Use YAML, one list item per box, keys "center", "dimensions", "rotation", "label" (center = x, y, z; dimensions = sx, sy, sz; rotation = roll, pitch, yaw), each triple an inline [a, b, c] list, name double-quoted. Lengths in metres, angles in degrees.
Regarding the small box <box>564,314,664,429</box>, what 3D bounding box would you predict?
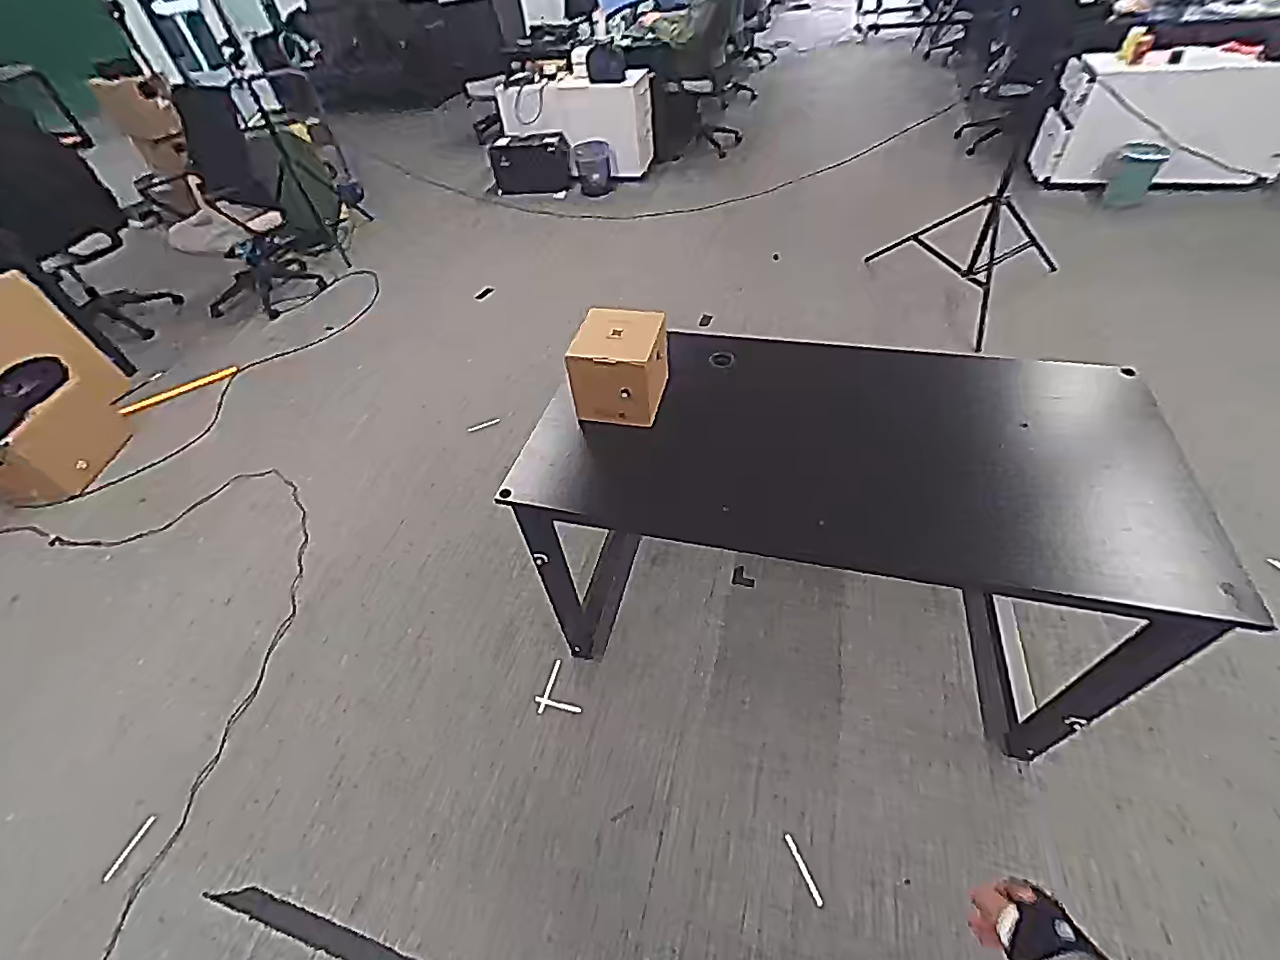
- center: [-0.045, -0.229, 1.148]
  dimensions: [0.168, 0.176, 0.179]
  rotation: [8, 49, 11]
  label: "small box"
